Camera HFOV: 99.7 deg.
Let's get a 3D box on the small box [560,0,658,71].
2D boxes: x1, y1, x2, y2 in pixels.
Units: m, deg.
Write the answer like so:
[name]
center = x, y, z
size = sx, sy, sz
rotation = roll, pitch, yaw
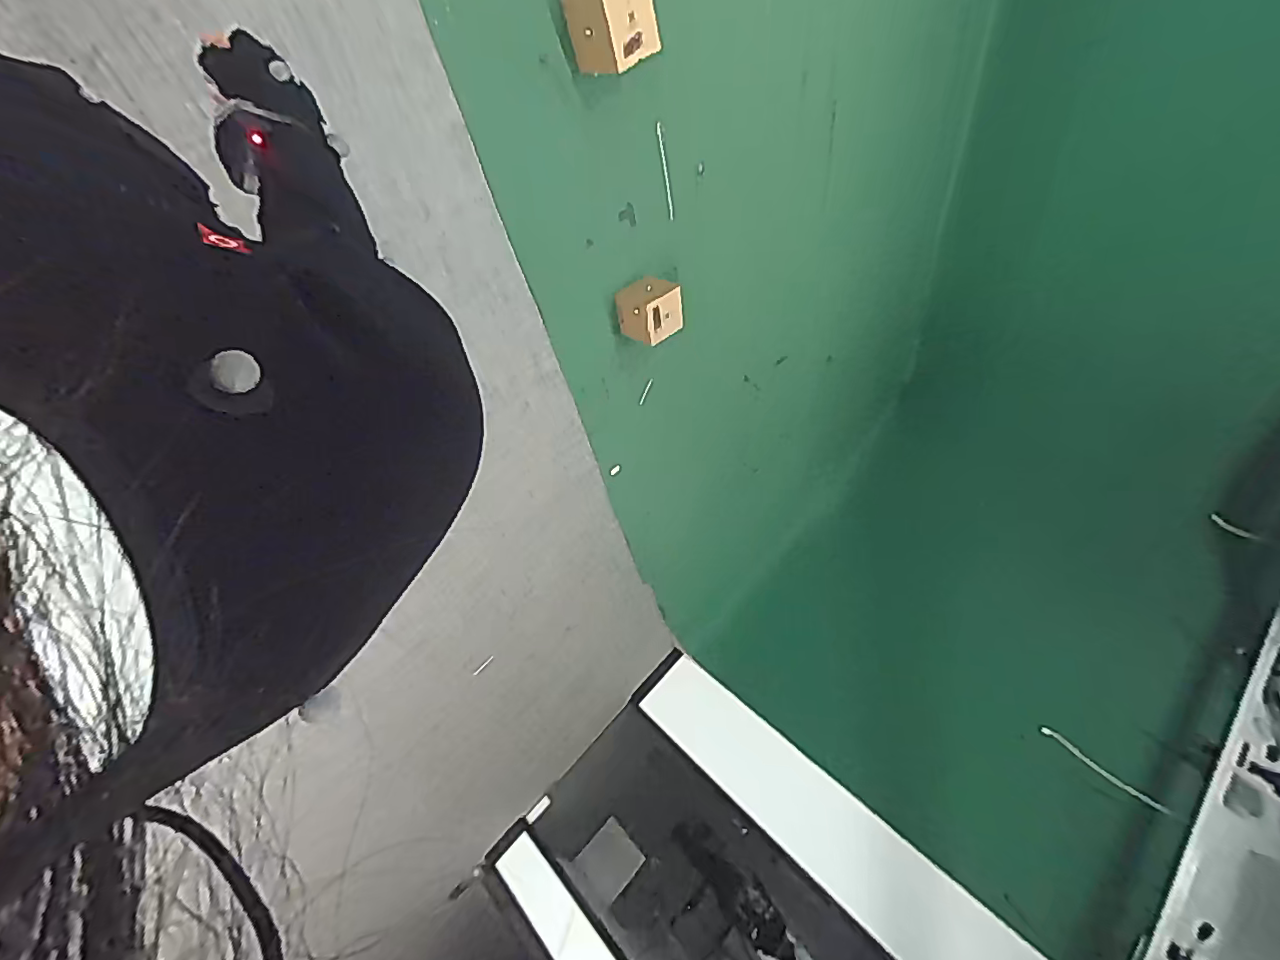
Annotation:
[small box]
center = -0.081, -1.210, 1.422
size = 0.168, 0.176, 0.179
rotation = -44, 142, -19
